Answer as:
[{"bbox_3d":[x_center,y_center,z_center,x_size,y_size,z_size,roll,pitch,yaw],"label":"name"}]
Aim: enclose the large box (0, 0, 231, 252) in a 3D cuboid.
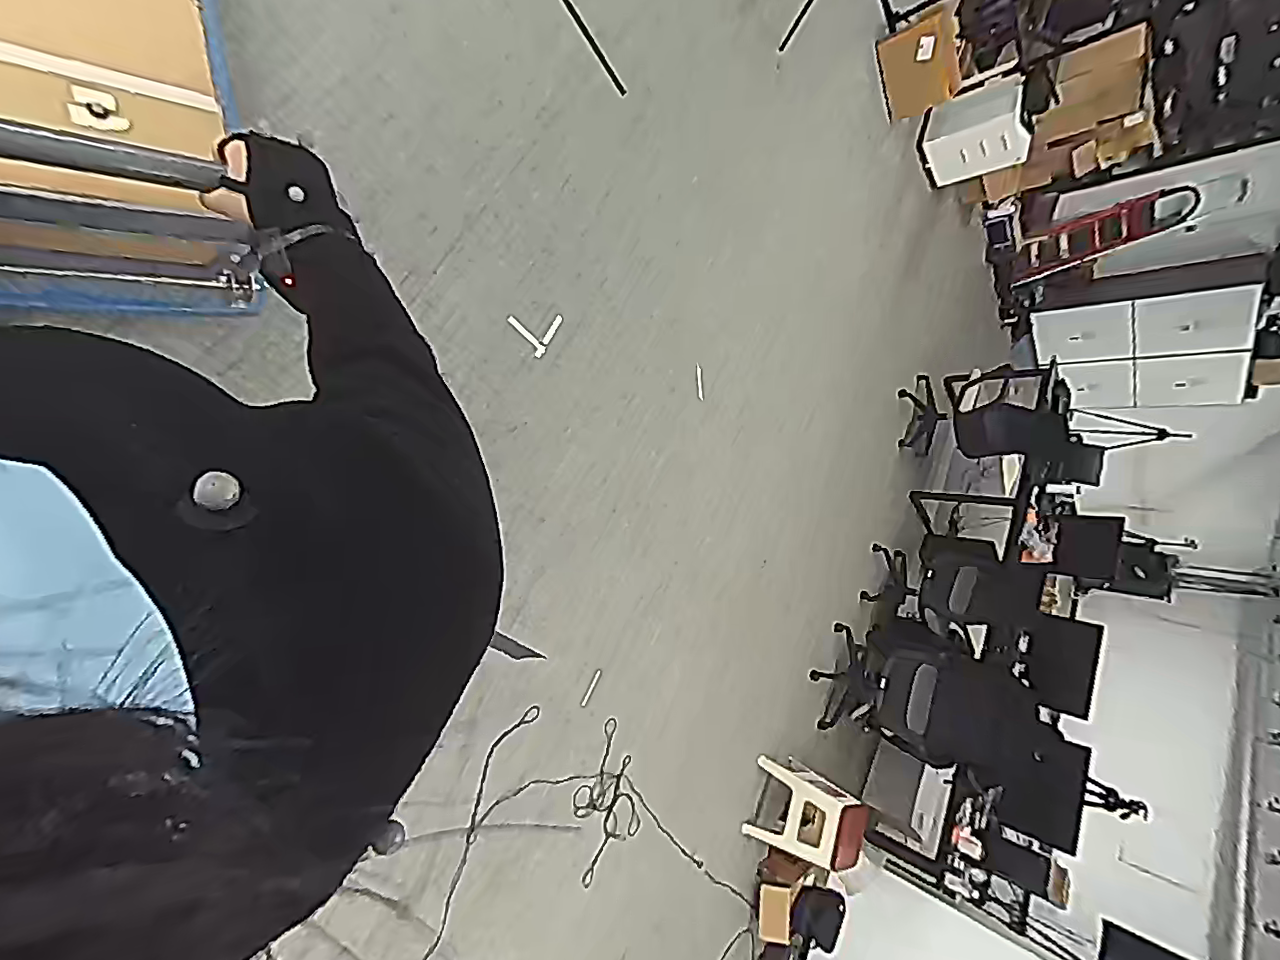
[{"bbox_3d":[-0.882,-0.539,0.766,0.408,0.320,0.320,-13,103,-45],"label":"large box"}]
